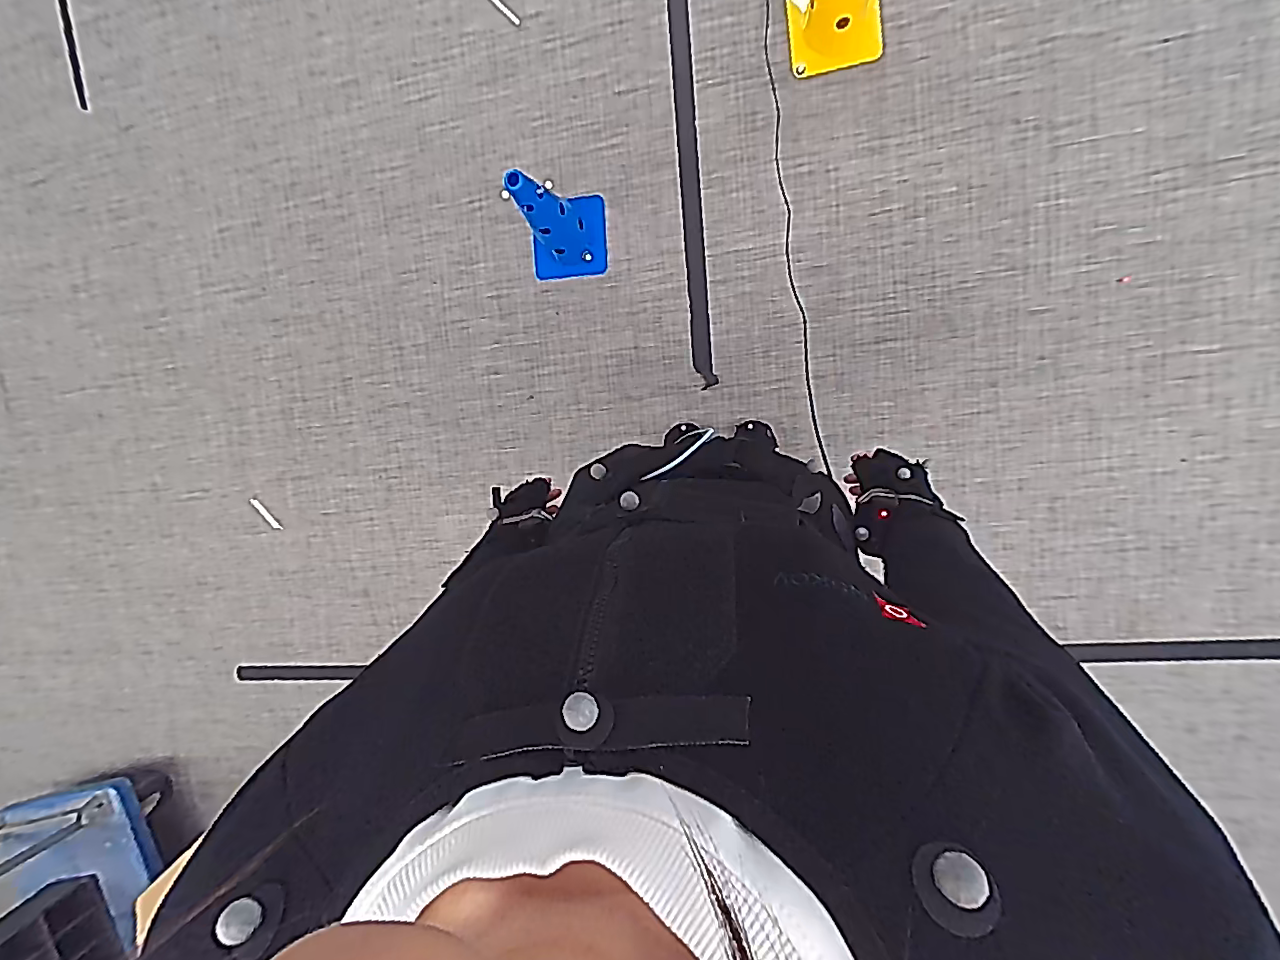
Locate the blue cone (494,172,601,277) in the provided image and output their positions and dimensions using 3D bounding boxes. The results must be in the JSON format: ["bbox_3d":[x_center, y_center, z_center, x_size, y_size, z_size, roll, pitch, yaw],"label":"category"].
[{"bbox_3d":[-0.228,-0.619,1.256,0.192,0.380,0.193,0,96,12],"label":"blue cone"}]
